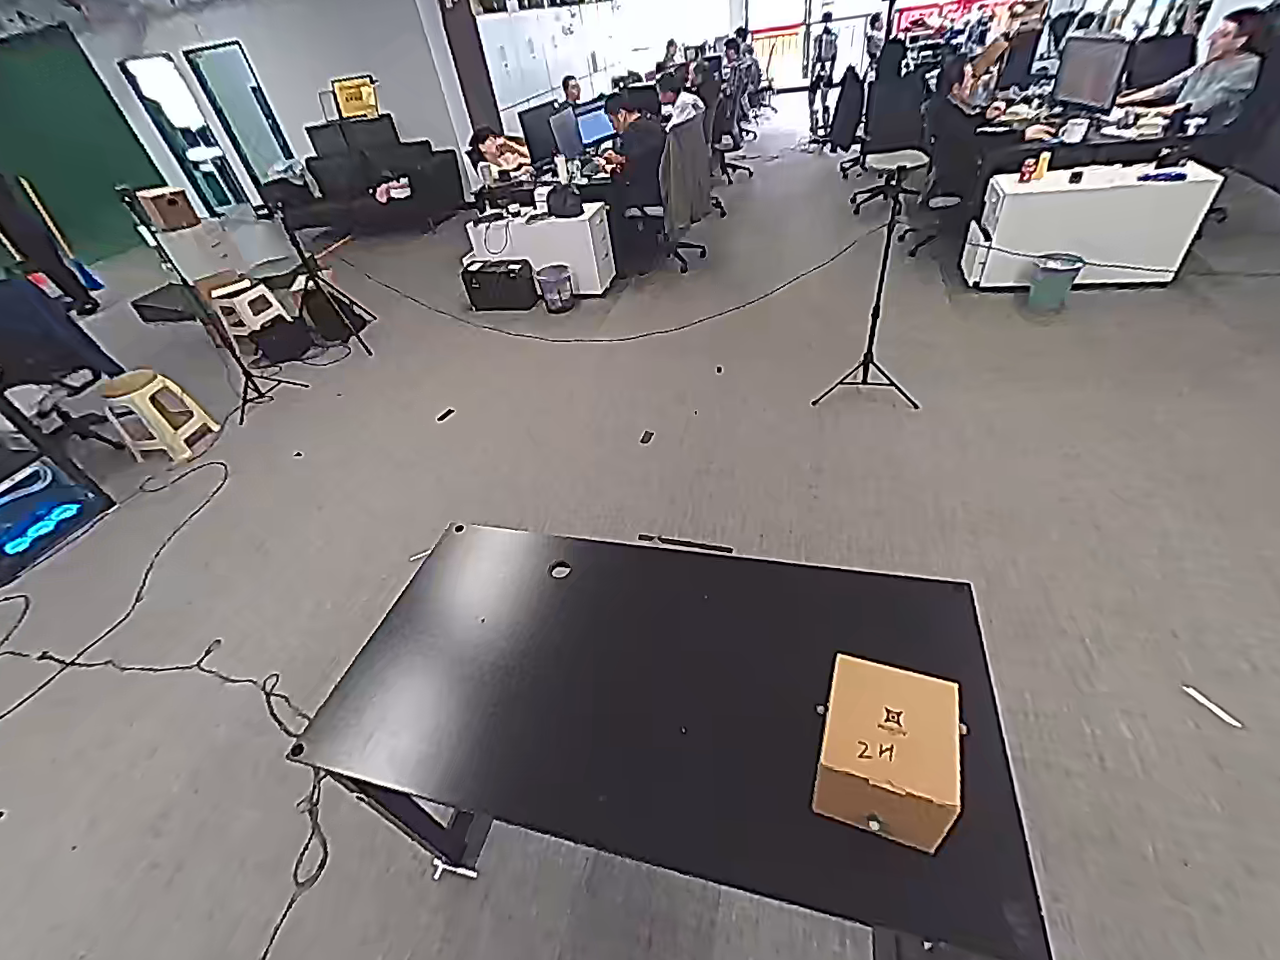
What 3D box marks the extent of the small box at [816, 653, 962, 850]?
[{"bbox_3d":[0.355,0.390,0.785,0.168,0.176,0.179,9,44,23],"label":"small box"}]
